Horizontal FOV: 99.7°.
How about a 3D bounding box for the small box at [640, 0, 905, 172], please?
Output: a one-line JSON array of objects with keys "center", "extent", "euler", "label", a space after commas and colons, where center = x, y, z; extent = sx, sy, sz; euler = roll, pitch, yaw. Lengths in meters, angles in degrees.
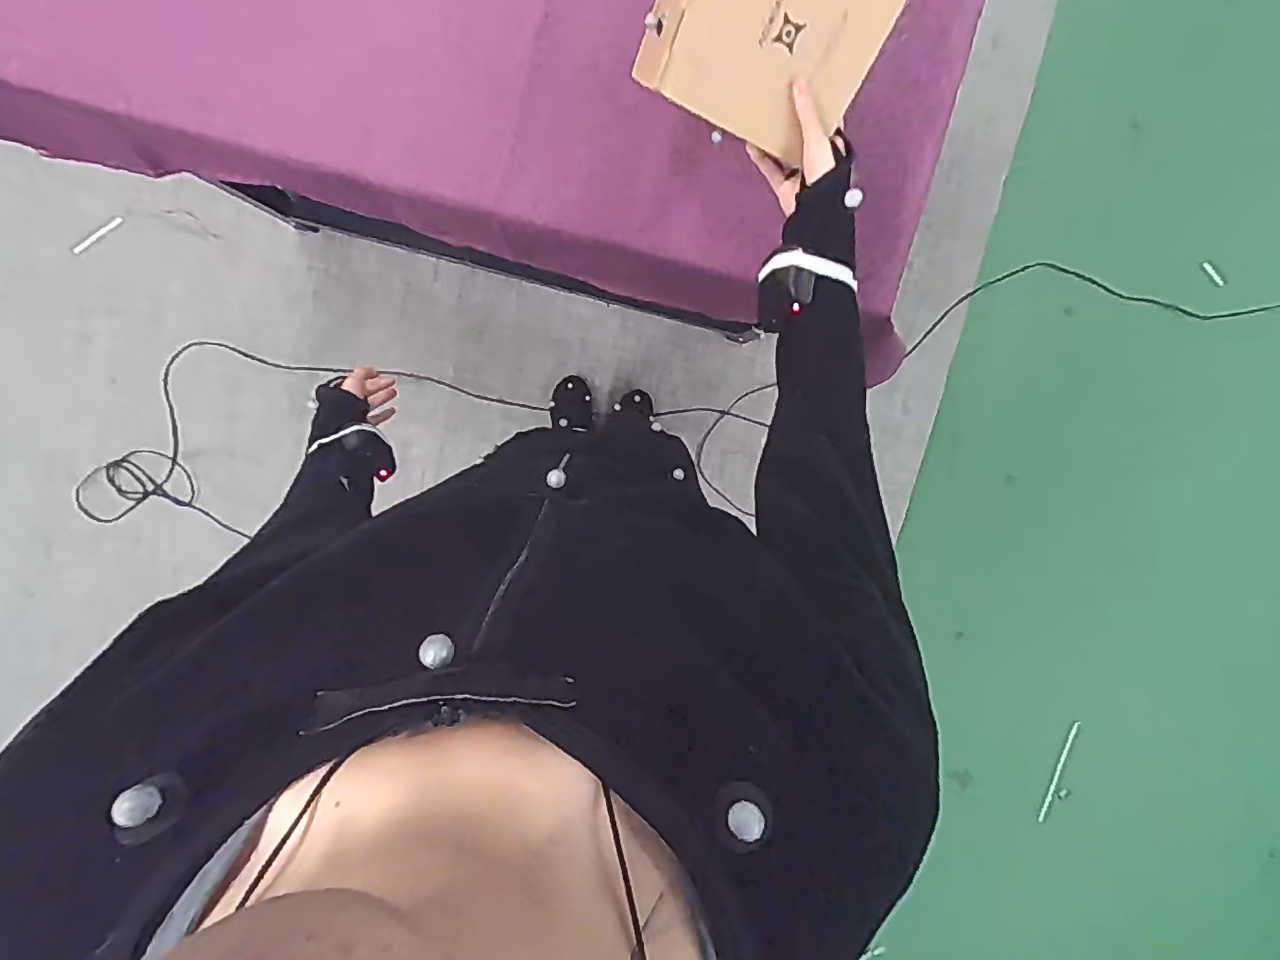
[{"center": [0.113, -0.434, 0.526], "extent": [0.179, 0.176, 0.168], "euler": [15, 125, -21], "label": "small box"}]
